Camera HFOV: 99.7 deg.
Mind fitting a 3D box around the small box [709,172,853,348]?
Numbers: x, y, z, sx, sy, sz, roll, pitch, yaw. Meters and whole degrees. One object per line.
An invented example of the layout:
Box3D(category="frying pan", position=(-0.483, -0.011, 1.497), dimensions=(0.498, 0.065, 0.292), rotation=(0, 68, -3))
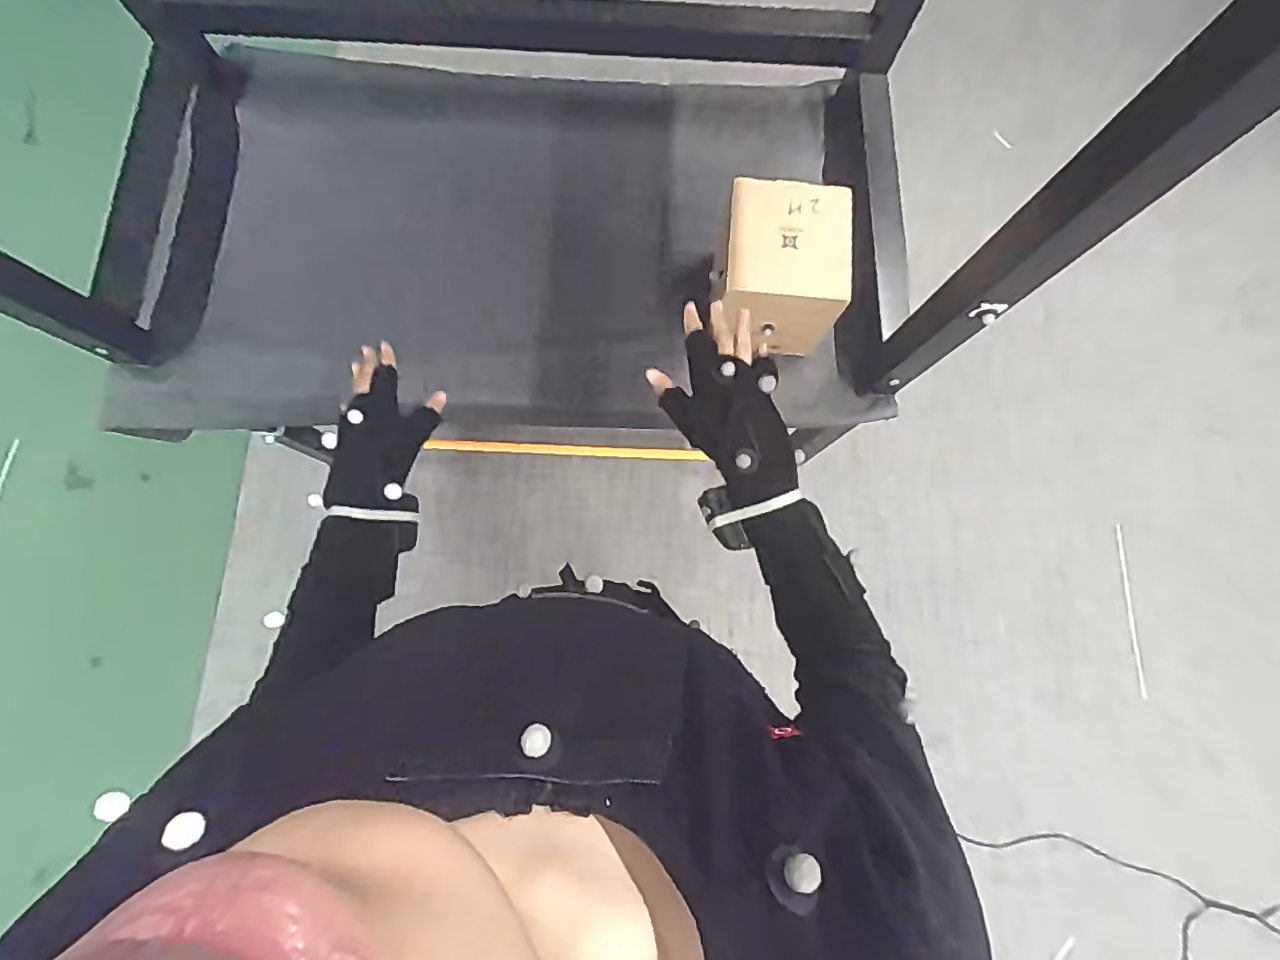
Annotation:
Box3D(category="small box", position=(0.199, -0.313, 0.800), dimensions=(0.168, 0.176, 0.179), rotation=(6, 78, -1))
